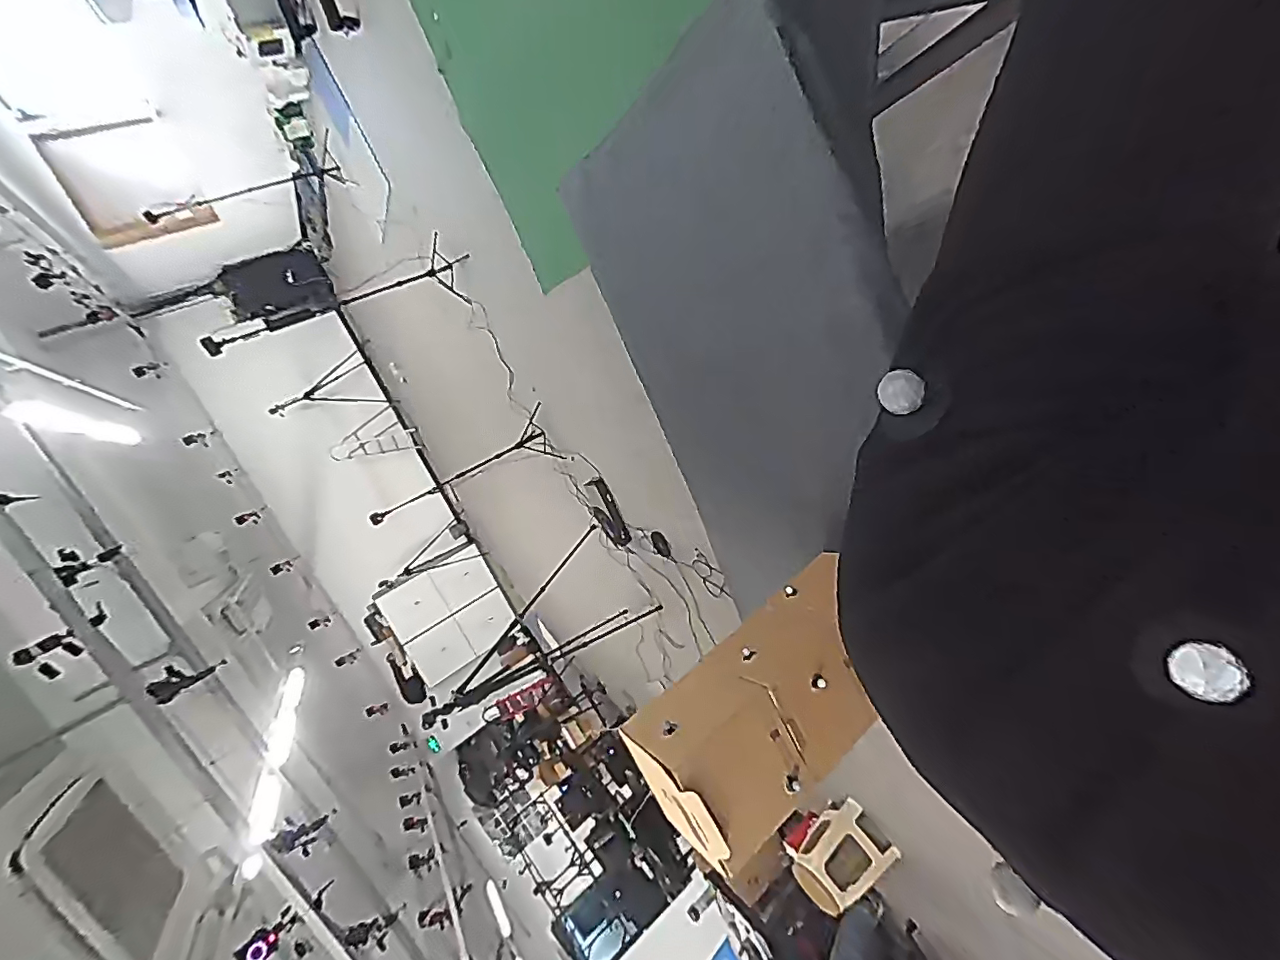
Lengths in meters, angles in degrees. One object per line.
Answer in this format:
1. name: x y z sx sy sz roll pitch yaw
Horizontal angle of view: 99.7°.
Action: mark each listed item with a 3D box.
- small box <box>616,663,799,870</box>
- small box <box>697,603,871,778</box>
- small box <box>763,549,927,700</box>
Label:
1. small box: 0.100 0.387 0.770 0.168 0.176 0.179 62 155 -6
2. small box: 0.227 0.309 0.840 0.168 0.176 0.179 63 155 -8
3. small box: 0.350 0.230 0.911 0.168 0.176 0.179 62 155 -9
